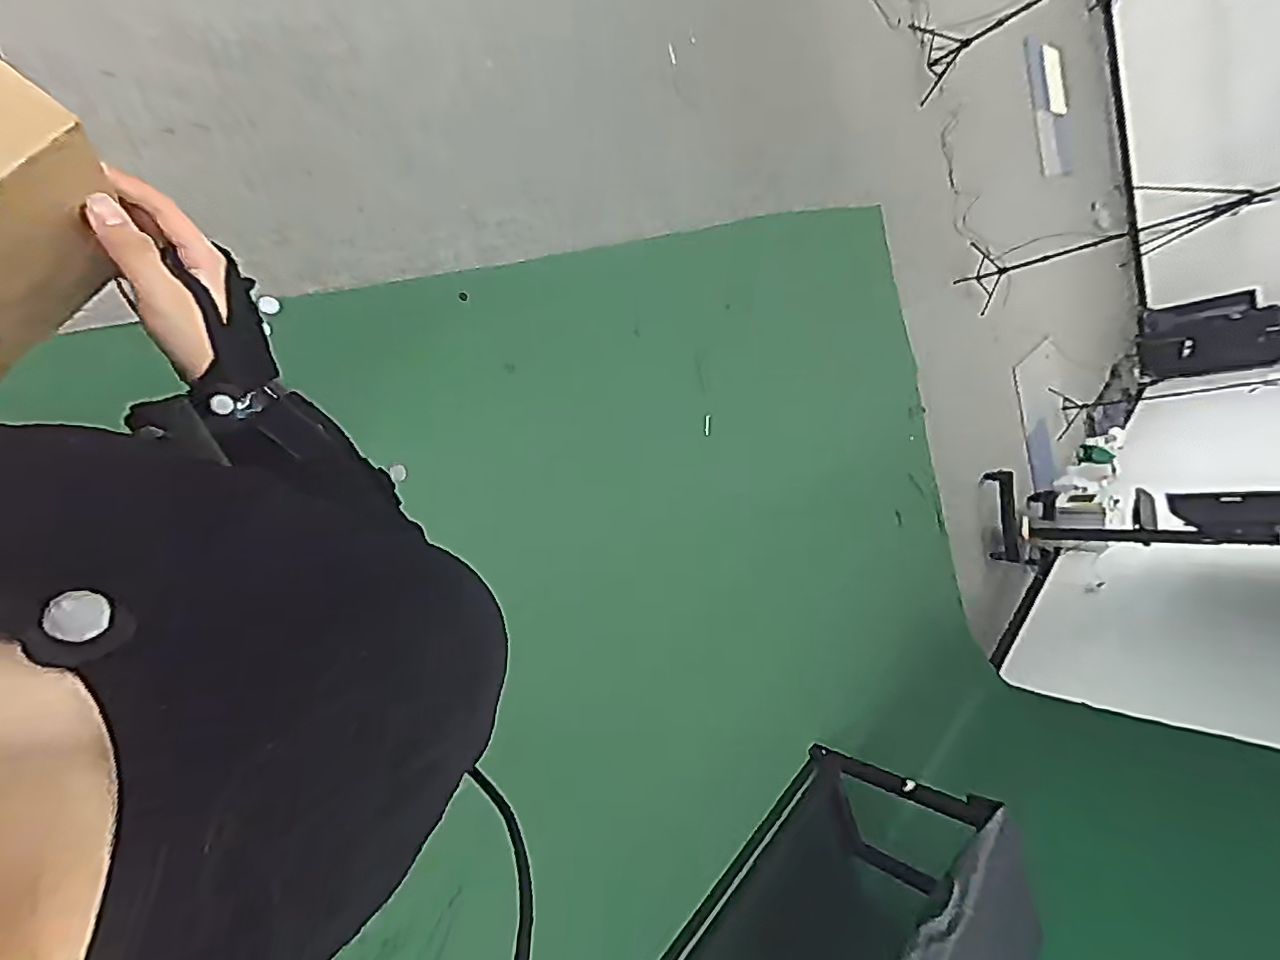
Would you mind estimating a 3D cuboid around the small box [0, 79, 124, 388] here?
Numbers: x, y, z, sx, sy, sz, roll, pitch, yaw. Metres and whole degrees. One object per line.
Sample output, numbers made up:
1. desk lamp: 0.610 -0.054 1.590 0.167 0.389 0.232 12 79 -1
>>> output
1. small box: -0.394 -0.130 0.245 0.168 0.176 0.179 39 70 -29
